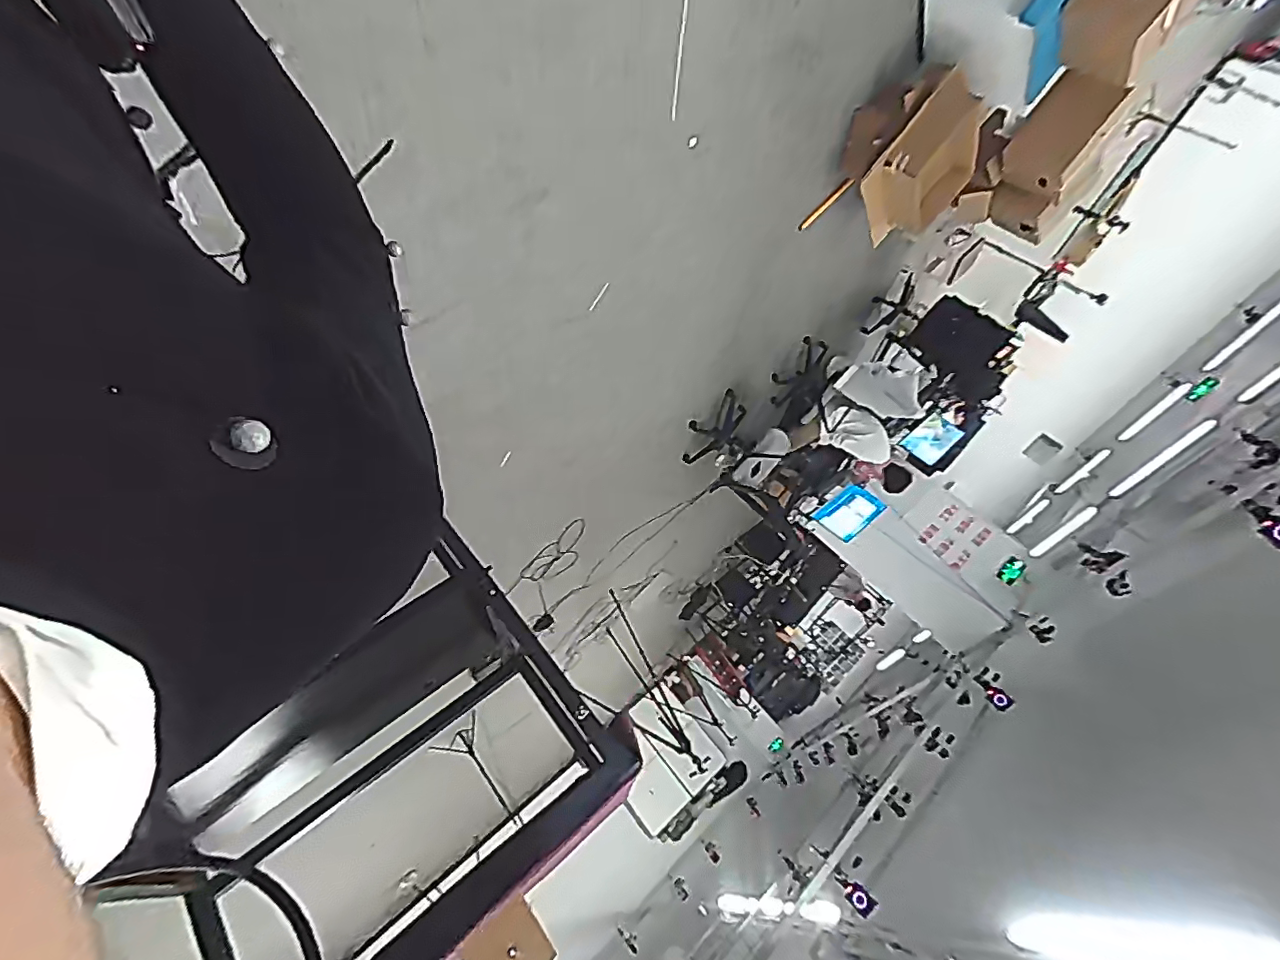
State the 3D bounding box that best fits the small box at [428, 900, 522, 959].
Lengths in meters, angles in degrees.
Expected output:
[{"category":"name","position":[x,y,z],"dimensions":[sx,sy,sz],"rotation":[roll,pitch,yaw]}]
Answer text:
[{"category":"small box","position":[-0.396,1.160,1.296],"dimensions":[0.179,0.176,0.168],"rotation":[-31,155,-32]}]
